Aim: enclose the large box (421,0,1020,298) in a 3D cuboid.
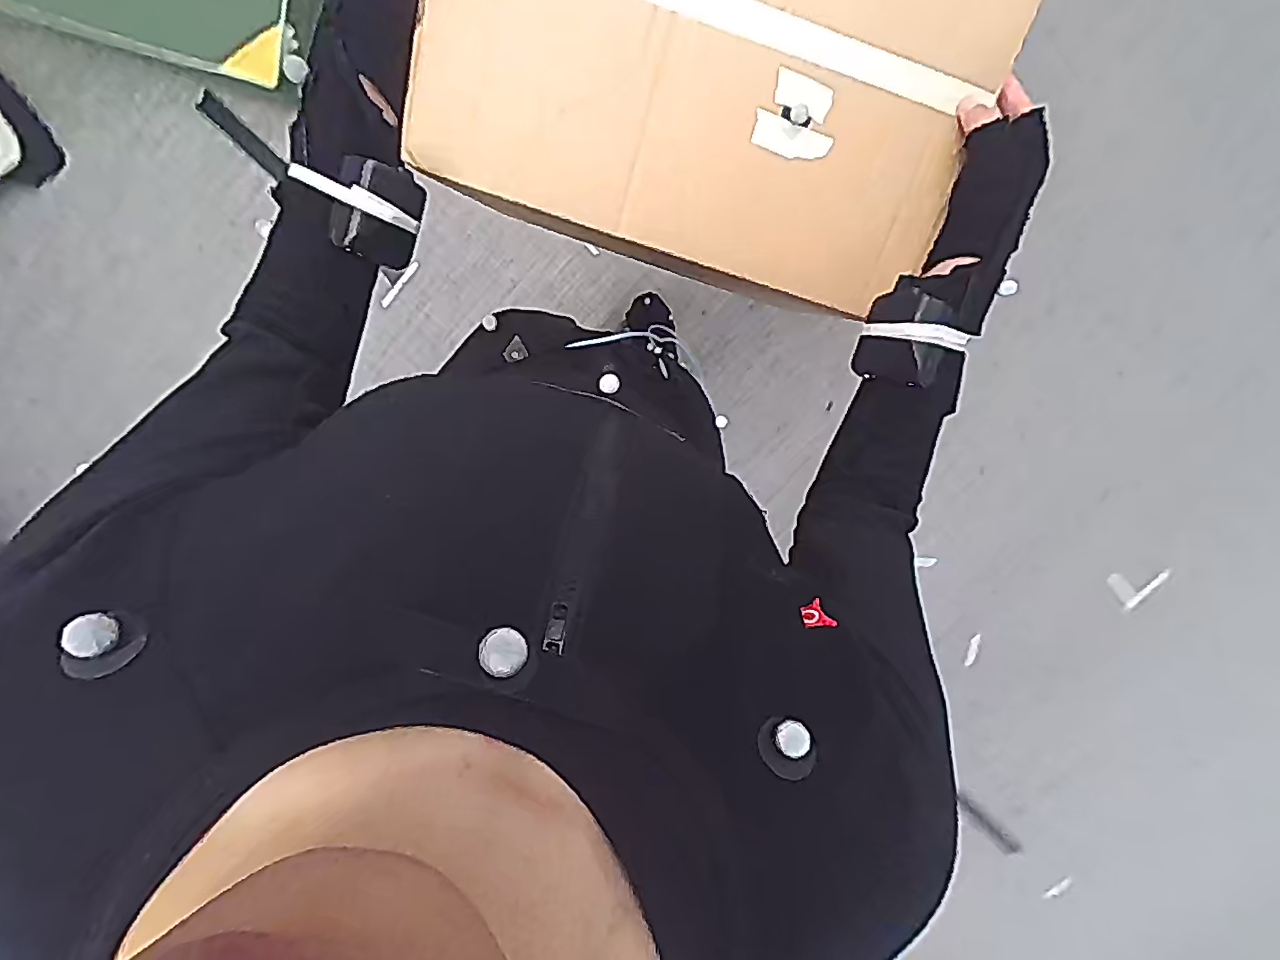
[{"bbox_3d":[0.054,-0.385,0.518,0.408,0.320,0.320,13,111,-8],"label":"large box"}]
